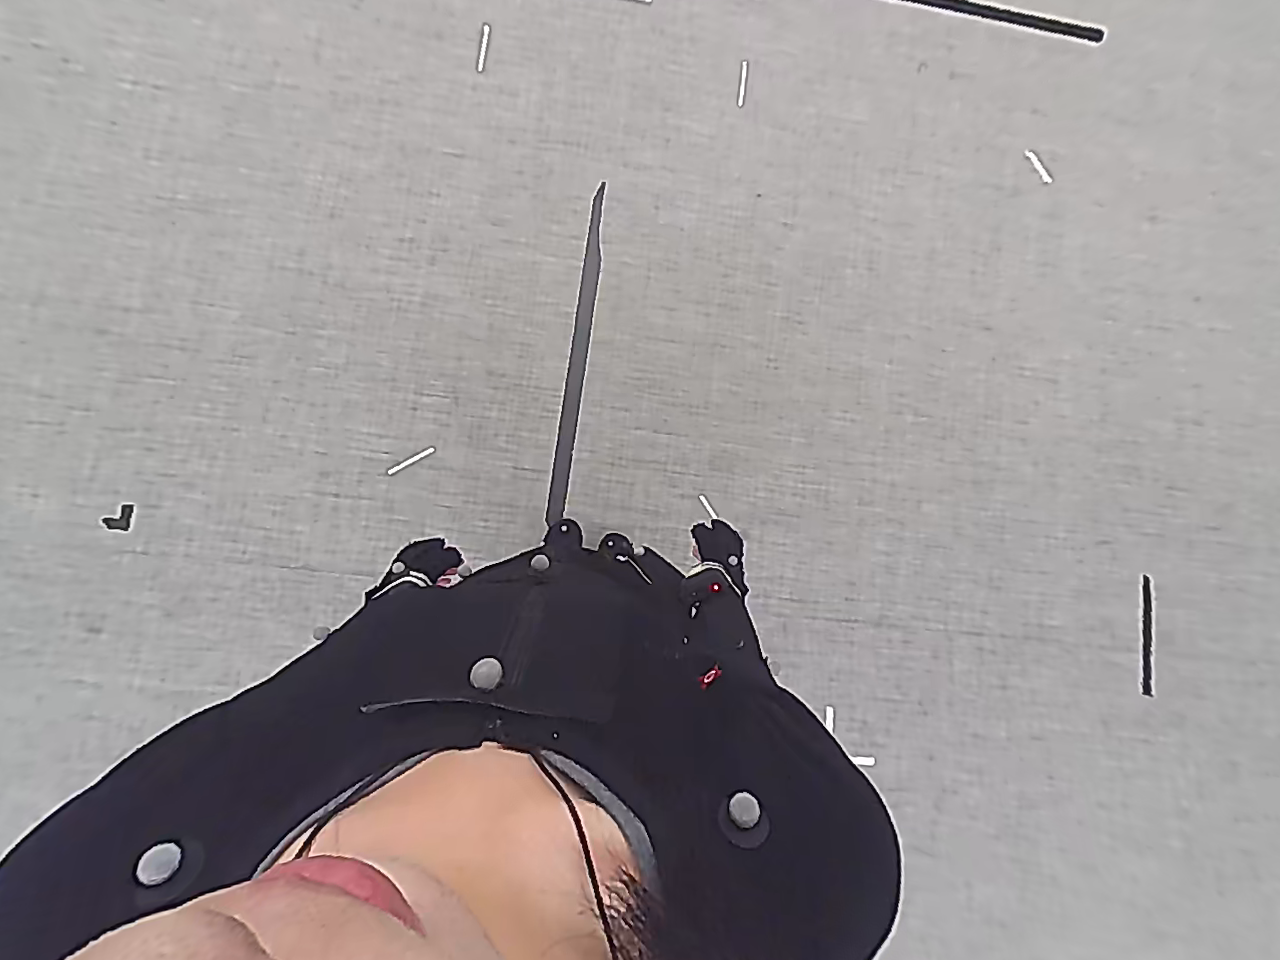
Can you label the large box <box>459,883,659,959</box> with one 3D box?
[{"bbox_3d":[-0.160,1.093,1.103,0.408,0.320,0.320,-1,83,-5],"label":"large box"}]
